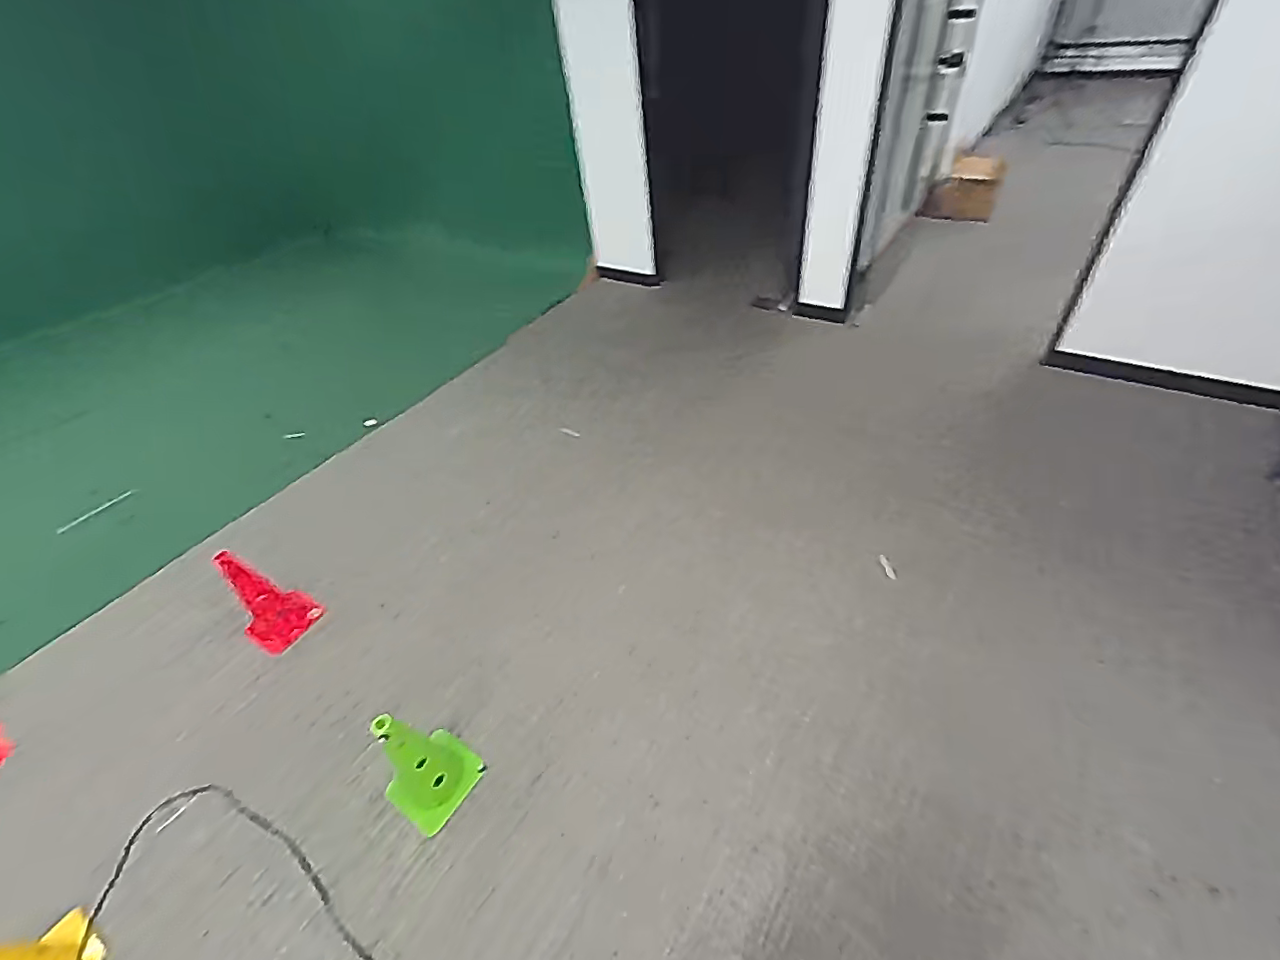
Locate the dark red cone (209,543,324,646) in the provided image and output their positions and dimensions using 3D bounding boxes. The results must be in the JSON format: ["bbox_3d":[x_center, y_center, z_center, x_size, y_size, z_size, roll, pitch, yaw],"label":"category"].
[{"bbox_3d":[-1.220,0.337,1.721,0.201,0.394,0.202,17,49,26],"label":"dark red cone"}]

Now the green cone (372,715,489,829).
[{"bbox_3d":[-0.549,0.658,1.316,0.200,0.368,0.202,21,52,28],"label":"green cone"}]

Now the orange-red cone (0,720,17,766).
[{"bbox_3d":[-1.992,0.715,1.477,0.199,0.360,0.198,23,53,28],"label":"orange-red cone"}]
